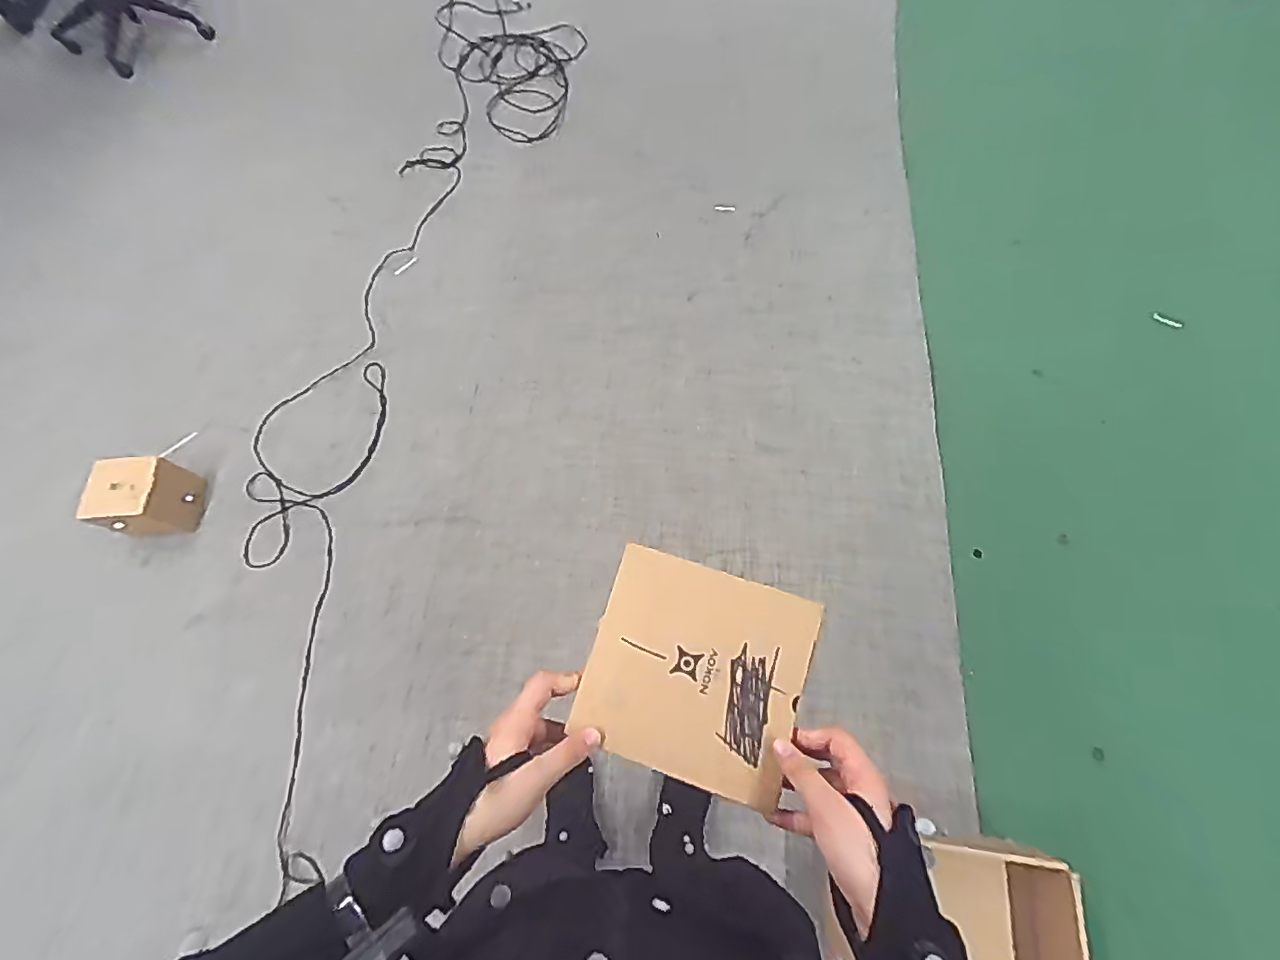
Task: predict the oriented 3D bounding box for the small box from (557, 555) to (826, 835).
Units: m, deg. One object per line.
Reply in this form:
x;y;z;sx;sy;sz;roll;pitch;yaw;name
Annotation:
0.048;0.183;0.503;0.179;0.176;0.168;17;75;10;small box

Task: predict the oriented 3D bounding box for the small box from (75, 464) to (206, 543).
-1.342;0.068;1.465;0.179;0.176;0.168;-4;69;1;small box
